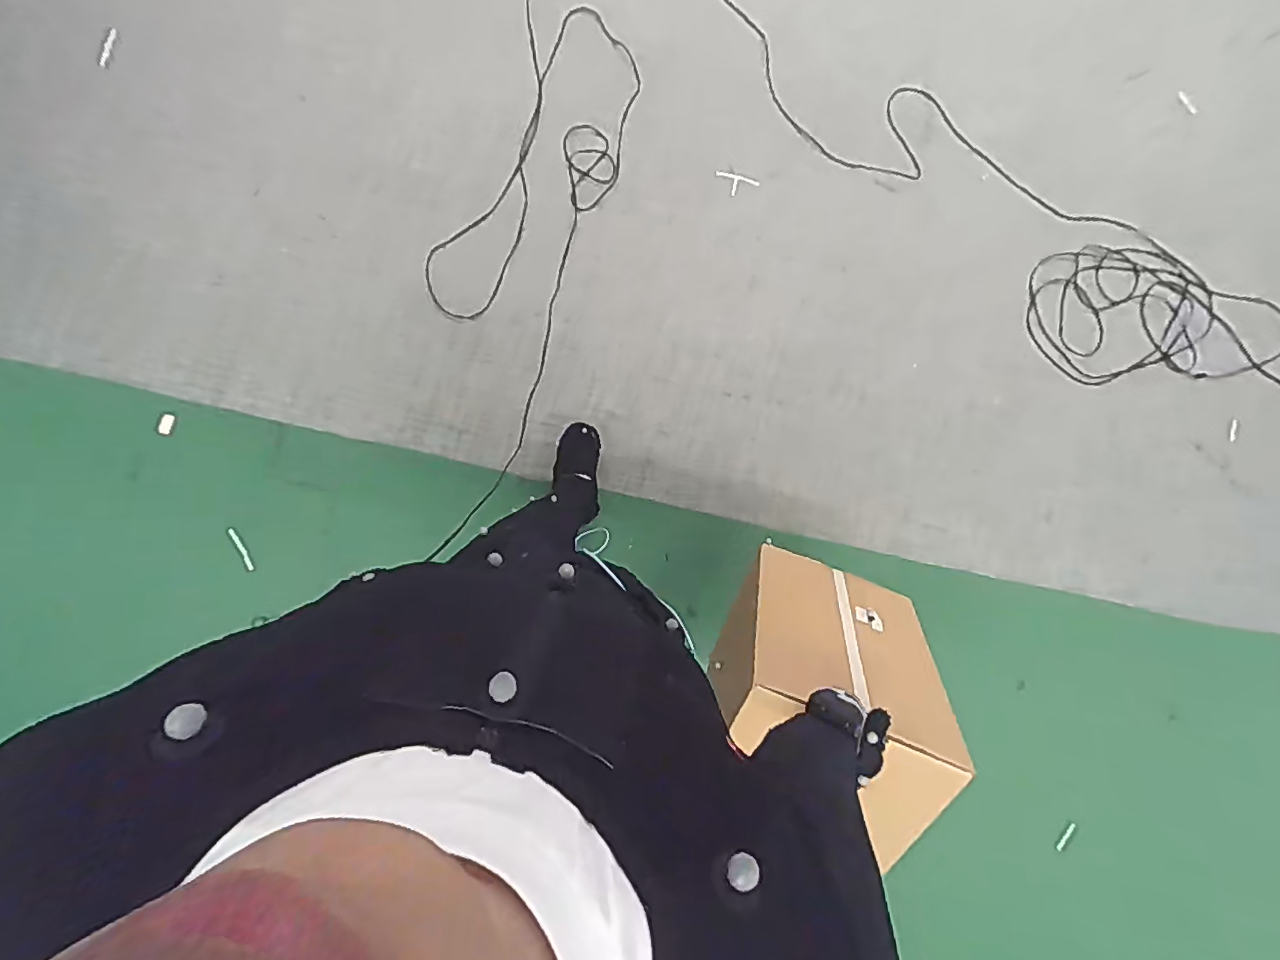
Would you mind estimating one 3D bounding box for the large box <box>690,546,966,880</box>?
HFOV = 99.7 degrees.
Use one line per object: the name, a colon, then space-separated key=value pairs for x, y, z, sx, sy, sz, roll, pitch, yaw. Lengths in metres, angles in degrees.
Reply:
large box: x=0.302 y=0.389 z=0.982 sx=0.320 sy=0.408 sz=0.320 roll=22 pitch=115 yaw=5
